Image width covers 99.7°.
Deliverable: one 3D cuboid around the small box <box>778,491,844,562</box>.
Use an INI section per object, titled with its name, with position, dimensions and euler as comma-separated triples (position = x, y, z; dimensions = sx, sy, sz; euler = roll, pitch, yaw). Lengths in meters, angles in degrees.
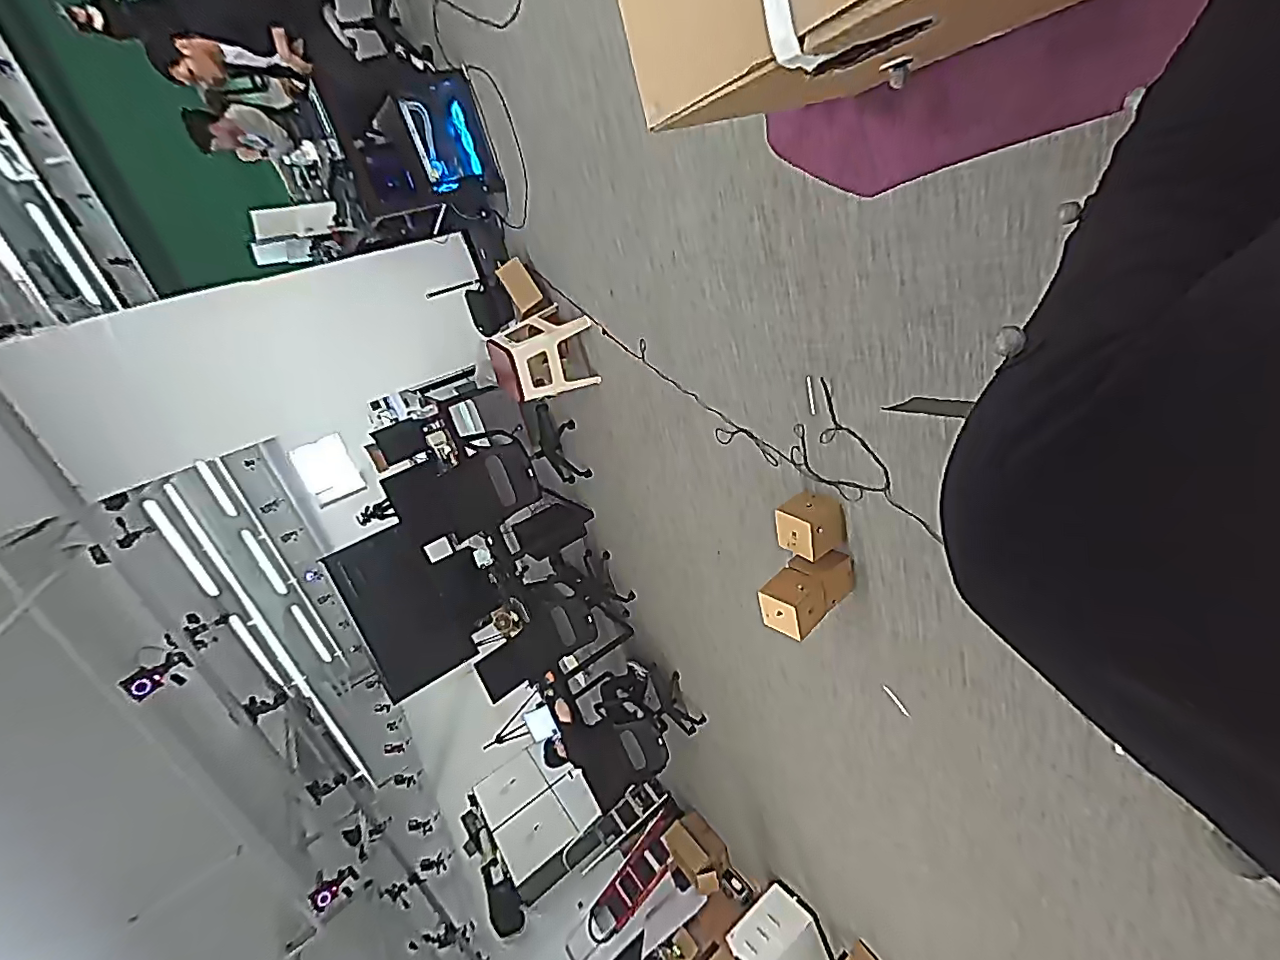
[small box]
position = 0.636, 0.165, 2.005
dimensions = 0.168, 0.176, 0.179
euler = 27, 139, 51
